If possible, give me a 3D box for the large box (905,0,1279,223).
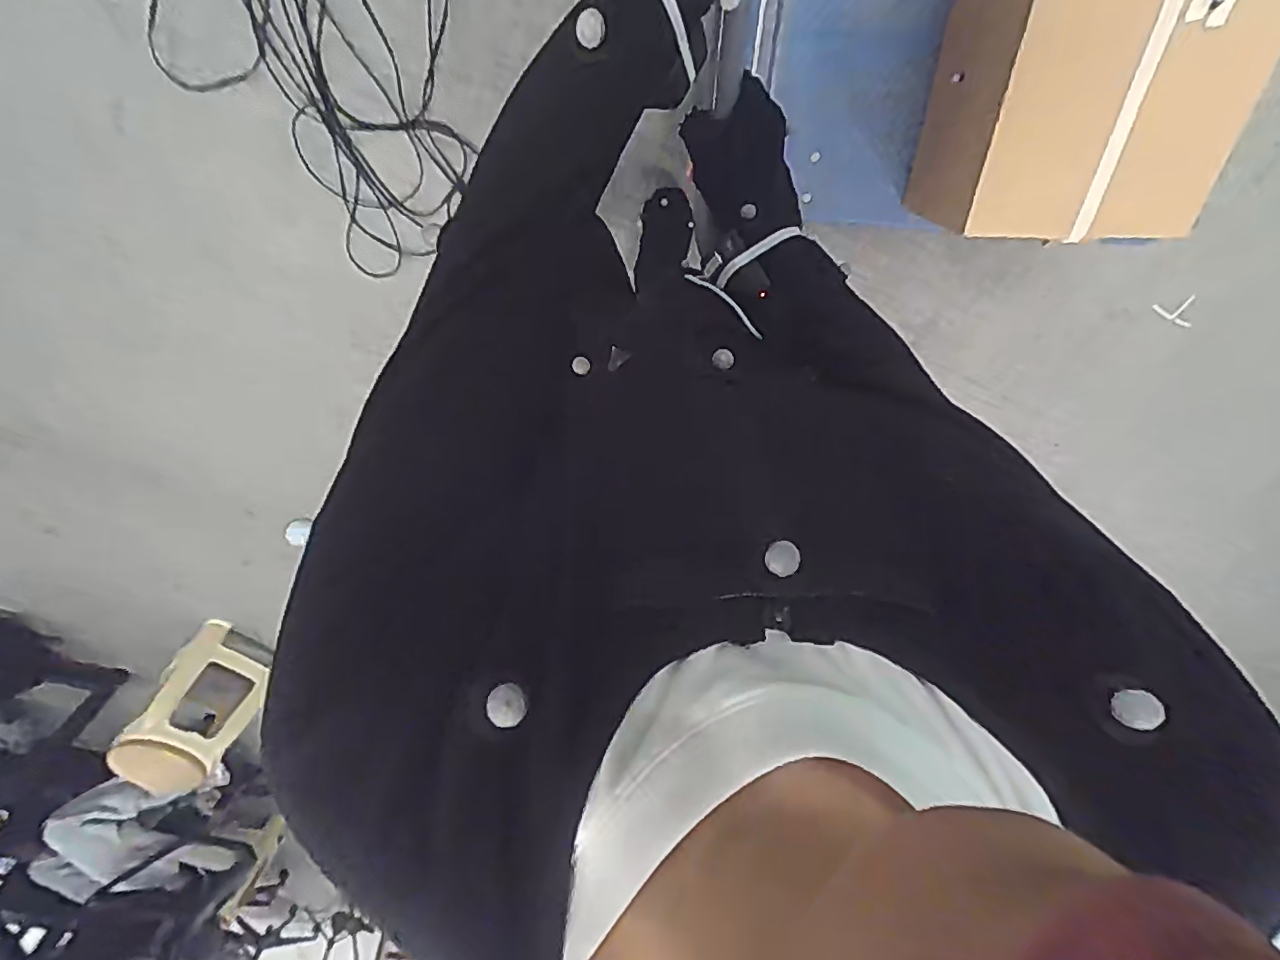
[{"bbox_3d":[0.645,-0.633,0.821,0.320,0.320,0.408,2,124,5],"label":"large box"}]
